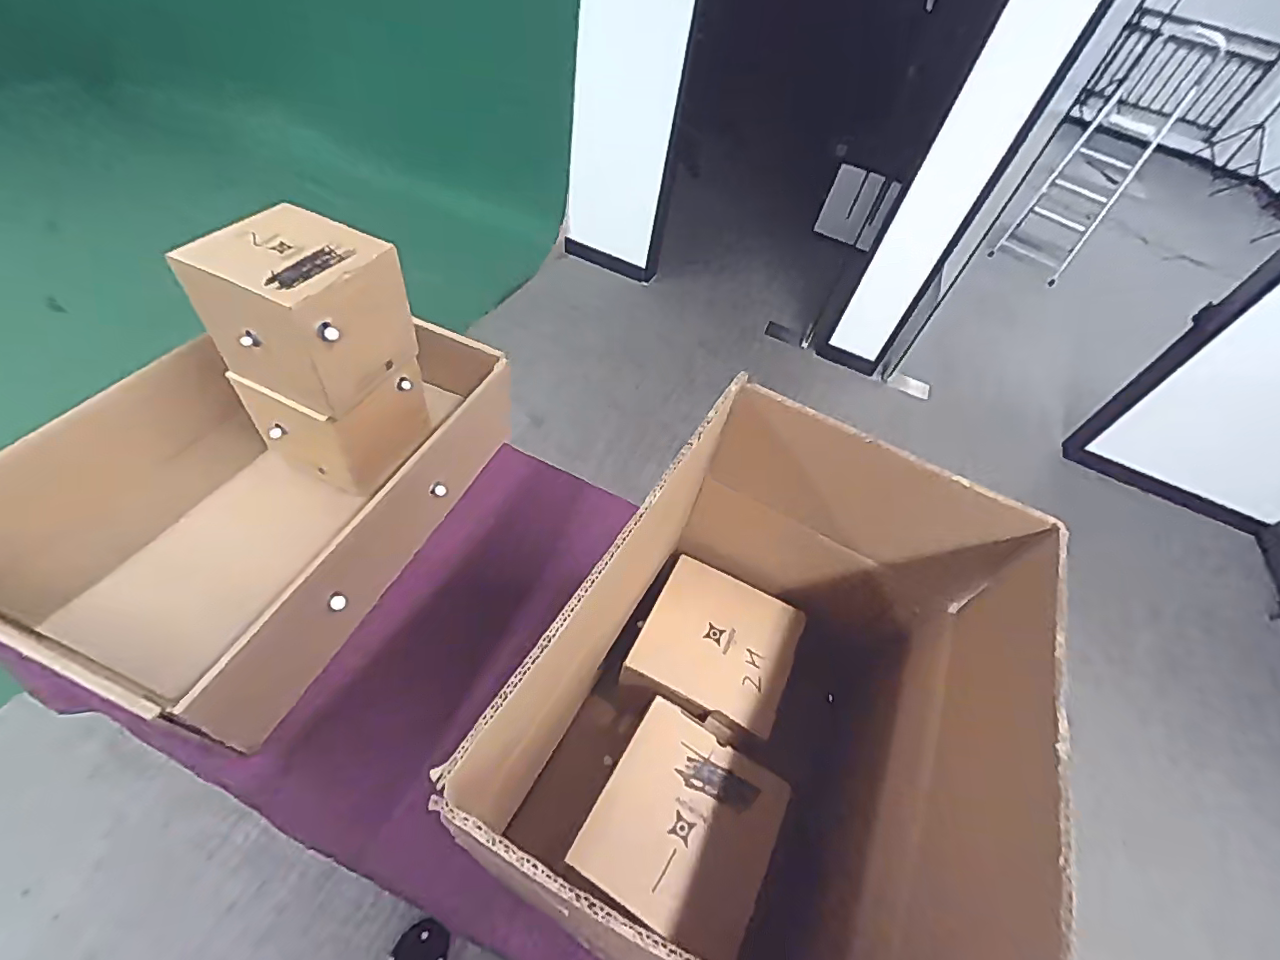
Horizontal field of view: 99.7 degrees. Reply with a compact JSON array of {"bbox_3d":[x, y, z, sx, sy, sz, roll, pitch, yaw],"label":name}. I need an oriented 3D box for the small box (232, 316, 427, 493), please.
[{"bbox_3d":[-0.450,-0.111,0.823,0.168,0.176,0.179,24,51,9],"label":"small box"}]
